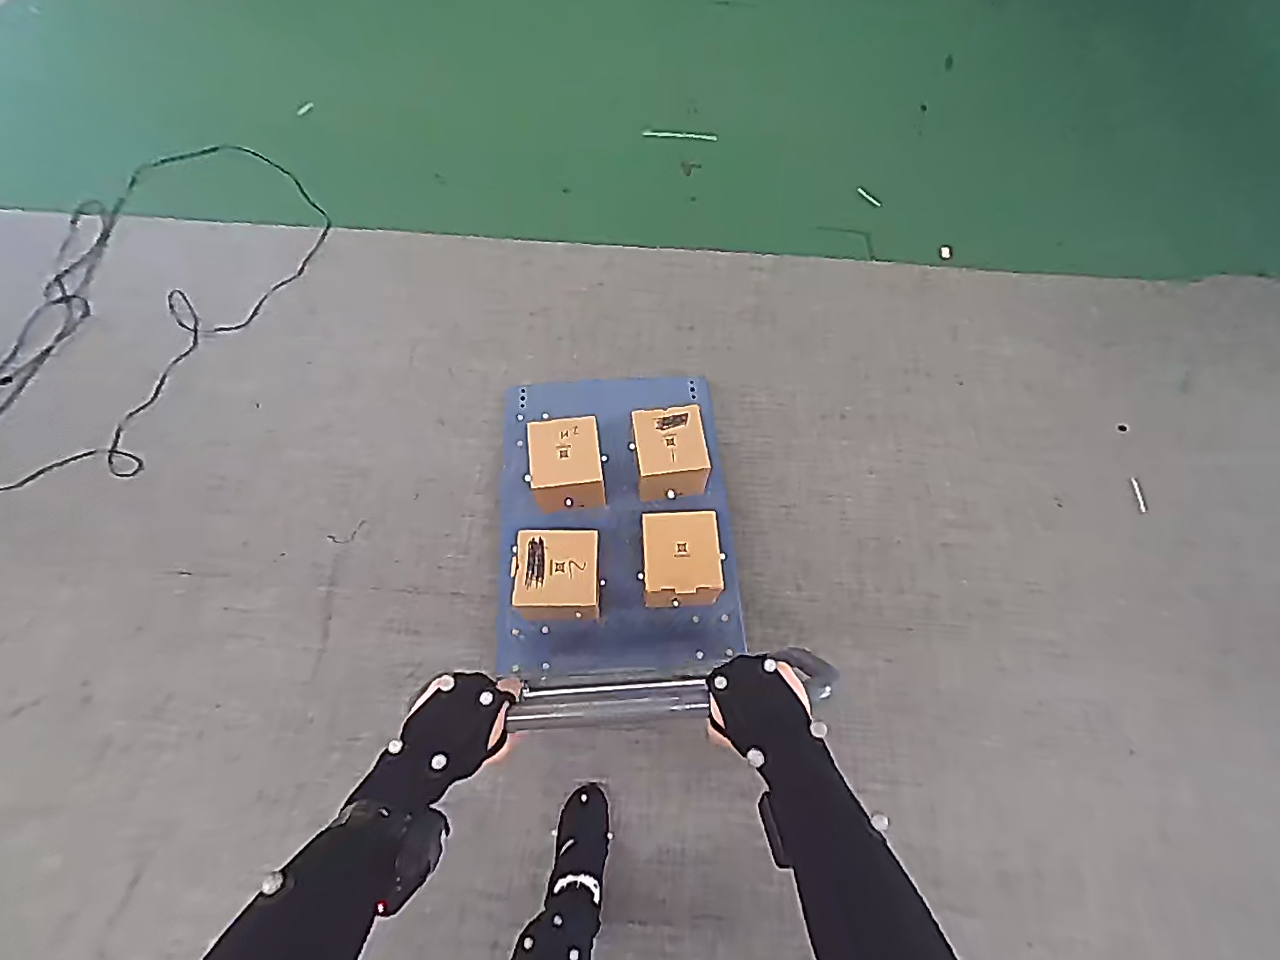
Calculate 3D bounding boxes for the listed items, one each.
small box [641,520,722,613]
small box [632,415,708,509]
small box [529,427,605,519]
[{"bbox_3d":[0.090,0.204,1.260,0.168,0.176,0.179,-2,66,-2],"label":"small box"},{"bbox_3d":[0.070,-0.042,1.372,0.168,0.176,0.179,-7,66,-3],"label":"small box"},{"bbox_3d":[-0.179,-0.011,1.355,0.168,0.176,0.179,-6,65,-5],"label":"small box"}]
